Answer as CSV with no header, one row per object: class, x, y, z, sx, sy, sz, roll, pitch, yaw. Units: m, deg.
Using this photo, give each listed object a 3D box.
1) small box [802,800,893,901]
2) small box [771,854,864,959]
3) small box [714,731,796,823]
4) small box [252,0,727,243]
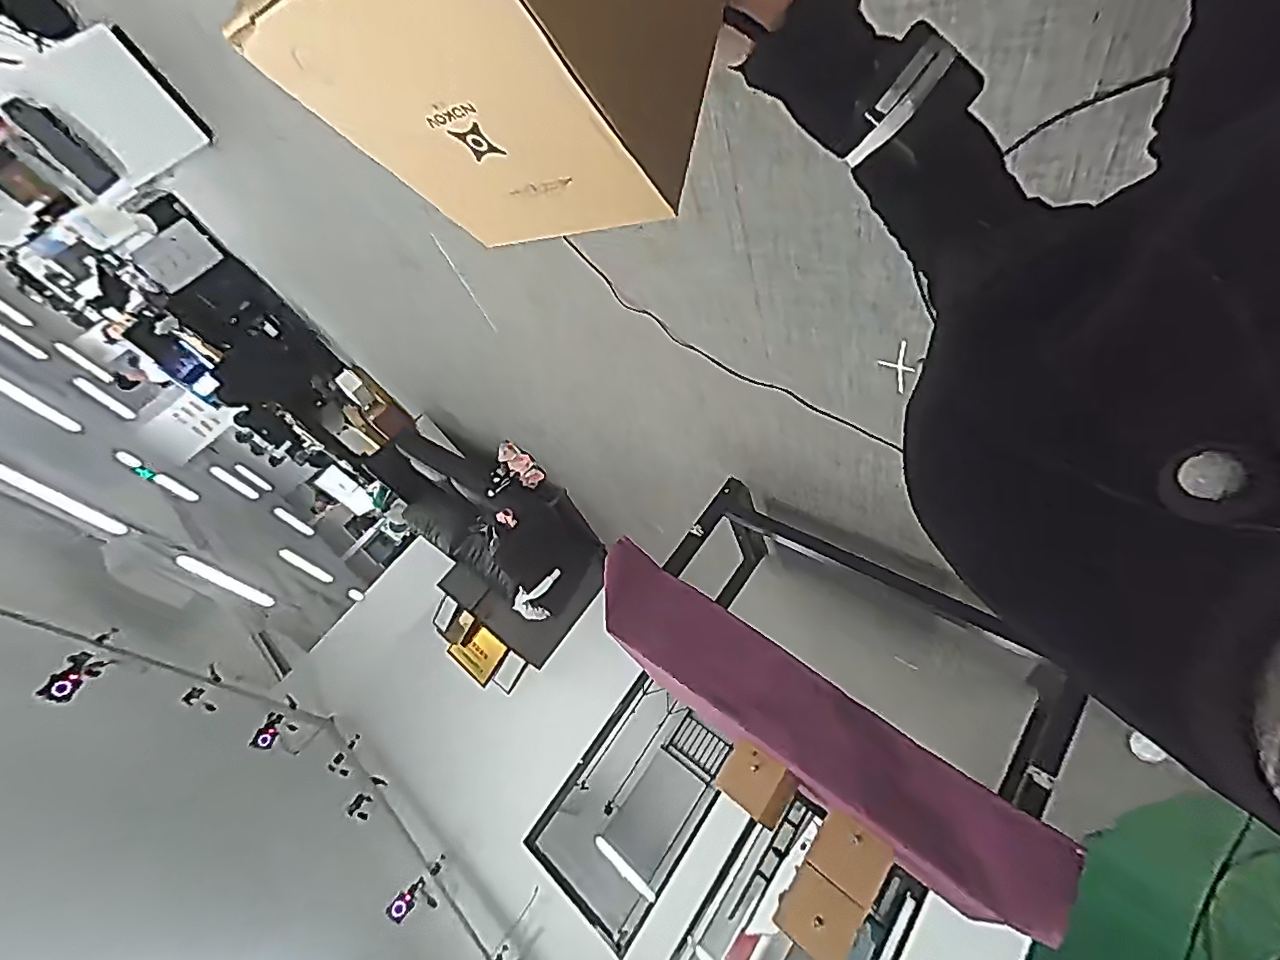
small box,0.580,1.022,1.505,0.179,0.176,0.168,25,157,38
small box,0.480,1.143,1.454,0.179,0.176,0.168,24,156,37
small box,0.365,0.923,1.688,0.168,0.176,0.179,21,154,42
small box,-0.065,-0.267,0.306,0.168,0.176,0.179,9,173,32
